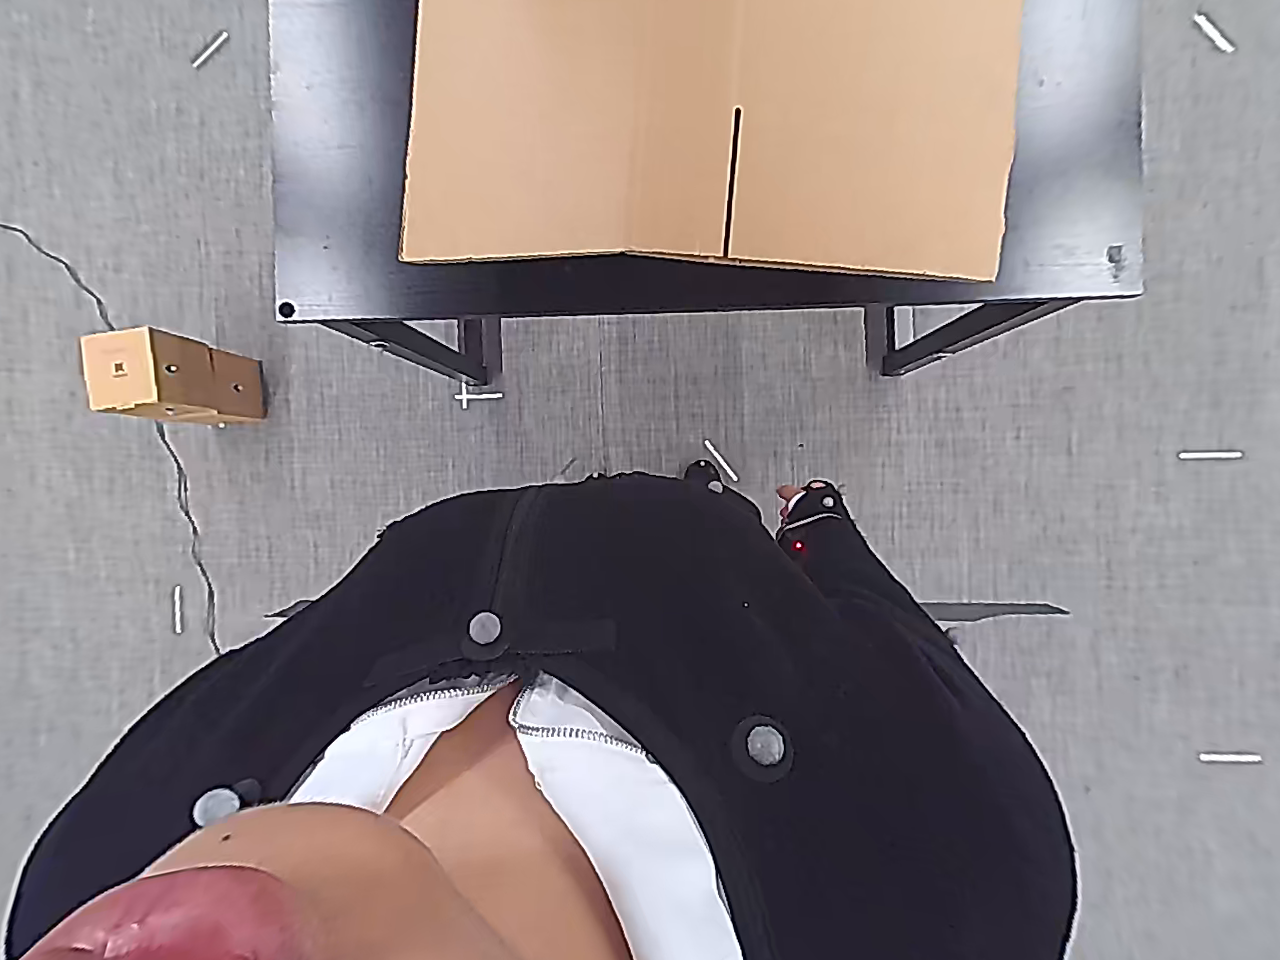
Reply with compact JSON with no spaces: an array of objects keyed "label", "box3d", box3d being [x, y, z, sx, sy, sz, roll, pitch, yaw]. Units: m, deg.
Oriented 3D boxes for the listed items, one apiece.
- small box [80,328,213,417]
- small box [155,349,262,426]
[{"label":"small box","box3d":[-1.179,-0.250,1.305,0.168,0.176,0.179,-8,89,2]},{"label":"small box","box3d":[-1.169,-0.246,1.467,0.168,0.176,0.179,-5,91,3]}]
